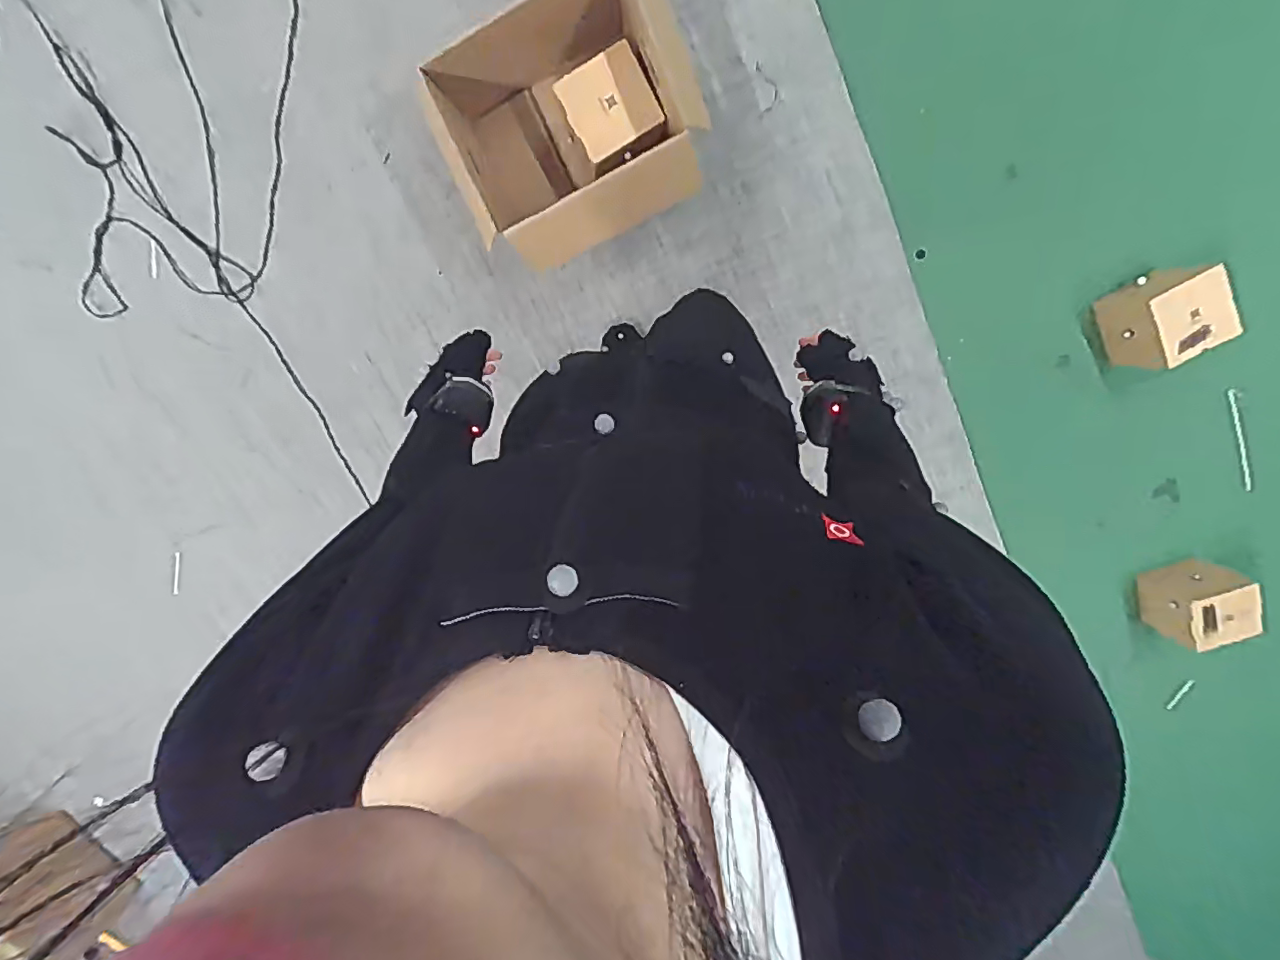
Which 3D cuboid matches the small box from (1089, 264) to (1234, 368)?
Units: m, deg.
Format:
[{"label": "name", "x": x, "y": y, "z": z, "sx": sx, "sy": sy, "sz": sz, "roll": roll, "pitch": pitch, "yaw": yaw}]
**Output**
[{"label": "small box", "x": 1.241, "y": -0.391, "z": 1.297, "sx": 0.168, "sy": 0.176, "sz": 0.179, "roll": -29, "pitch": 104, "yaw": 8}]
